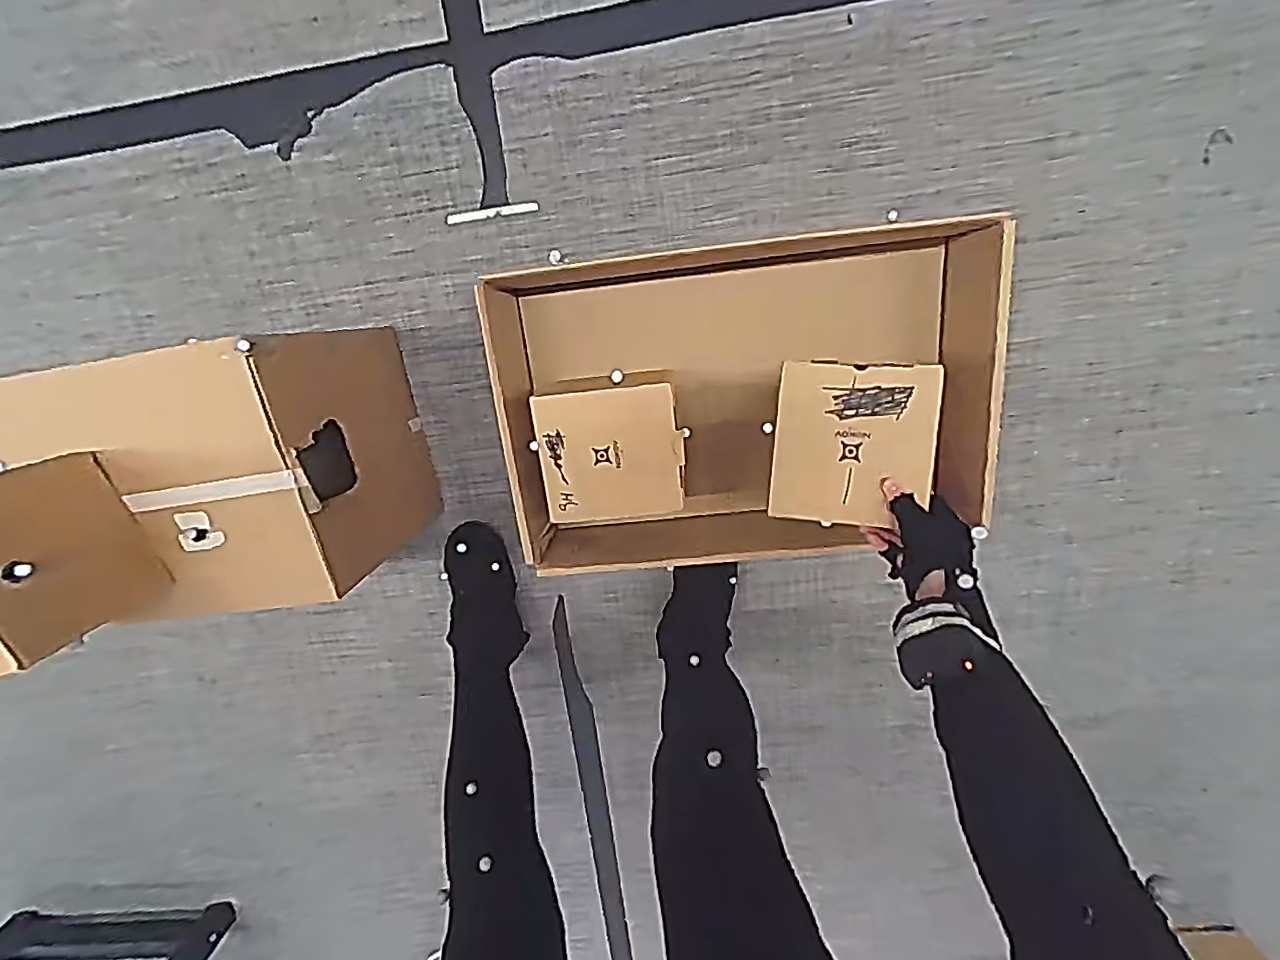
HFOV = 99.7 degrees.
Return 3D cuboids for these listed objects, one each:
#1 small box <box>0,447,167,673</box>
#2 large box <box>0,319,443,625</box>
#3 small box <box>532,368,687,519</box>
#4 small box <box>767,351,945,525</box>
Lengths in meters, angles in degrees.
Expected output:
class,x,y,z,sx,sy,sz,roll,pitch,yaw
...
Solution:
class,x,y,z,sx,sy,sz,roll,pitch,yaw
small box,-0.652,0.085,0.549,0.168,0.176,0.179,-17,106,7
large box,-0.560,-0.033,0.760,0.408,0.320,0.320,-9,108,6
small box,-0.034,-0.058,0.736,0.179,0.176,0.168,-6,105,4
small box,0.246,-0.049,0.657,0.168,0.176,0.179,6,93,13
